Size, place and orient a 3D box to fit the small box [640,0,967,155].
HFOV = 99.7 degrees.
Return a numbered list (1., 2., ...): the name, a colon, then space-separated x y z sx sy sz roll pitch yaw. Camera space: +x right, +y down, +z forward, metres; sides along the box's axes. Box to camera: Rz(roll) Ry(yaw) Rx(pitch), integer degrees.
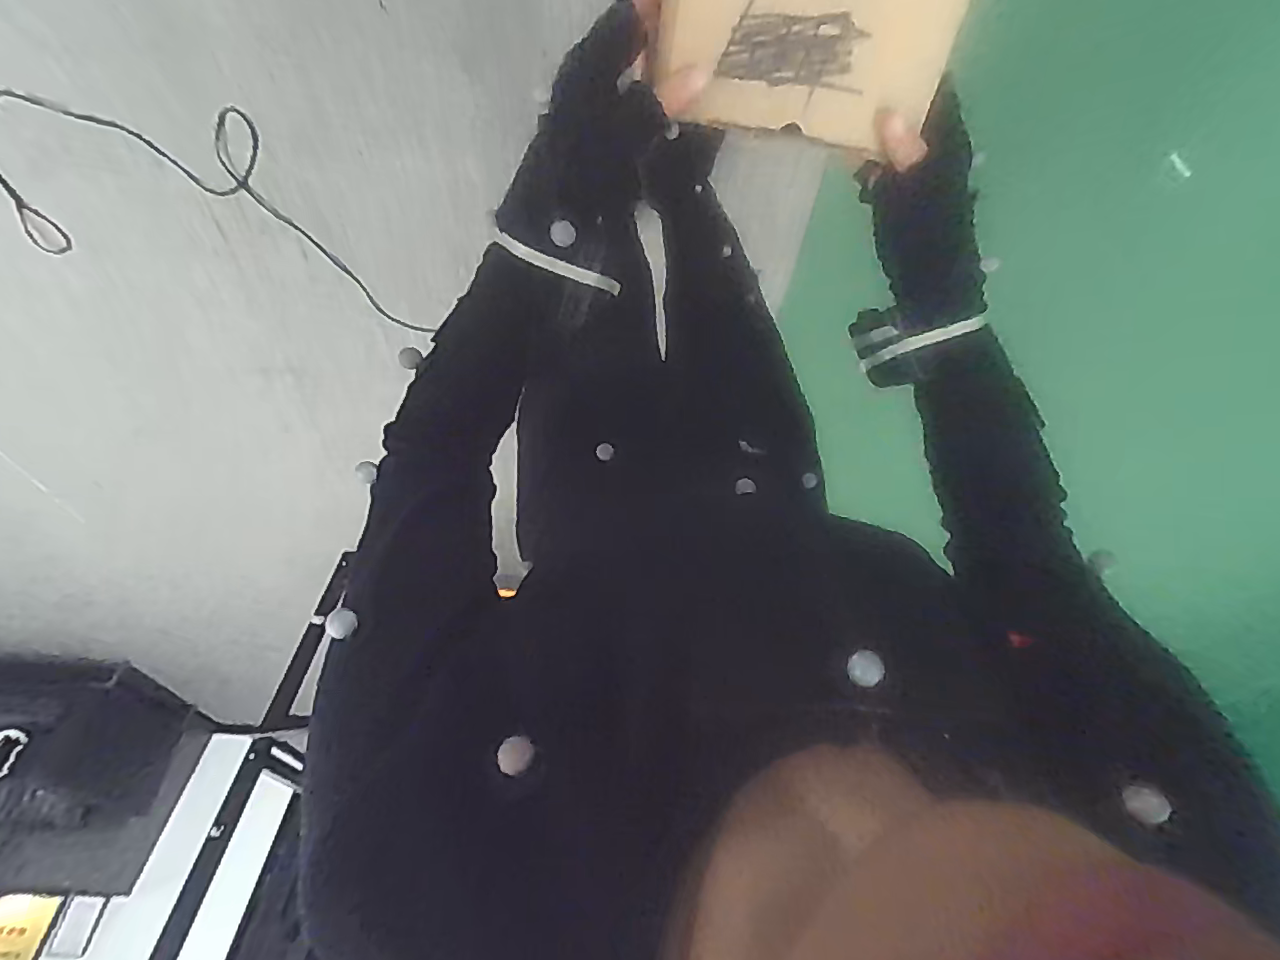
1. small box: 0.097 -0.329 0.350 0.168 0.176 0.179 4 123 -11
